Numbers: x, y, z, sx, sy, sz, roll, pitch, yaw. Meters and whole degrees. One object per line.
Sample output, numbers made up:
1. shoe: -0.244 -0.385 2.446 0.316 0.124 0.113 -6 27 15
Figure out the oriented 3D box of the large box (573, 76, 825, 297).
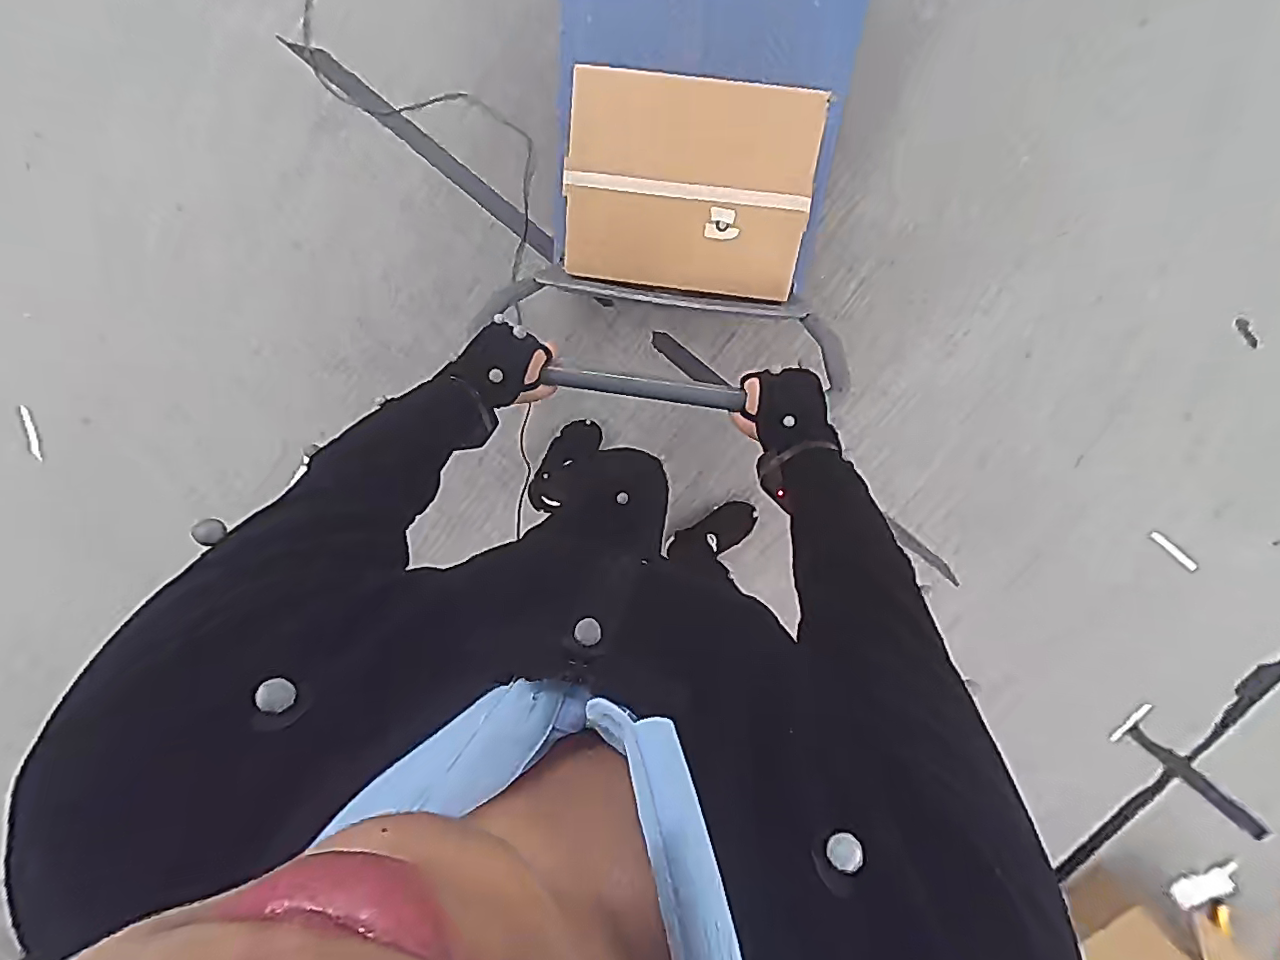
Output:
1. large box: 0.094 -0.546 1.053 0.408 0.320 0.320 7 115 2
